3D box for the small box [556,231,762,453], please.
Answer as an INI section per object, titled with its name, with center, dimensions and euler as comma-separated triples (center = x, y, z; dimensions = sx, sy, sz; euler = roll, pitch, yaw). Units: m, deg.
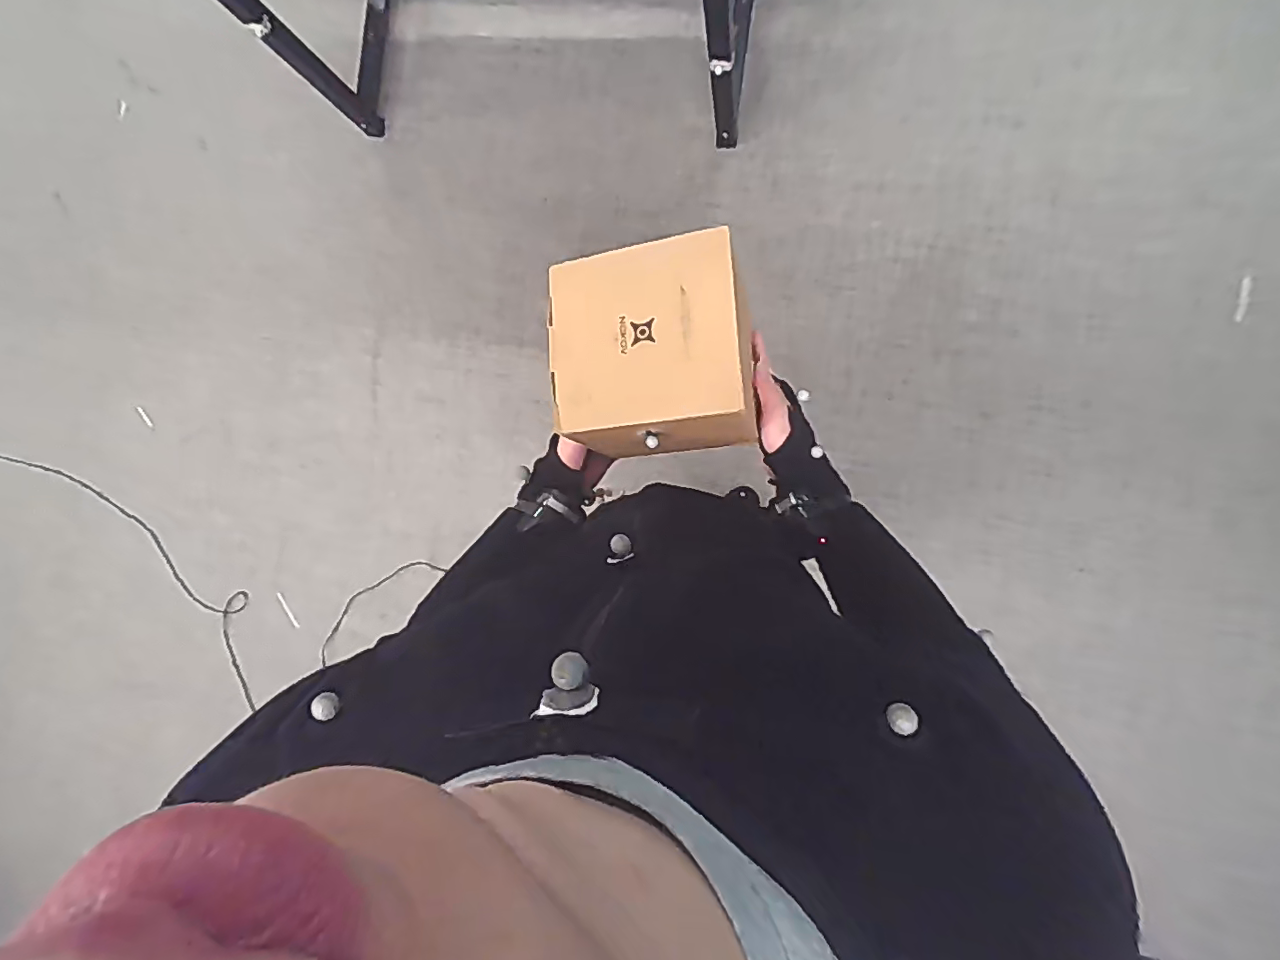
[small box]
center = 0.028, -0.126, 0.569
dimensions = 0.179, 0.176, 0.168
euler = -6, 84, 15
